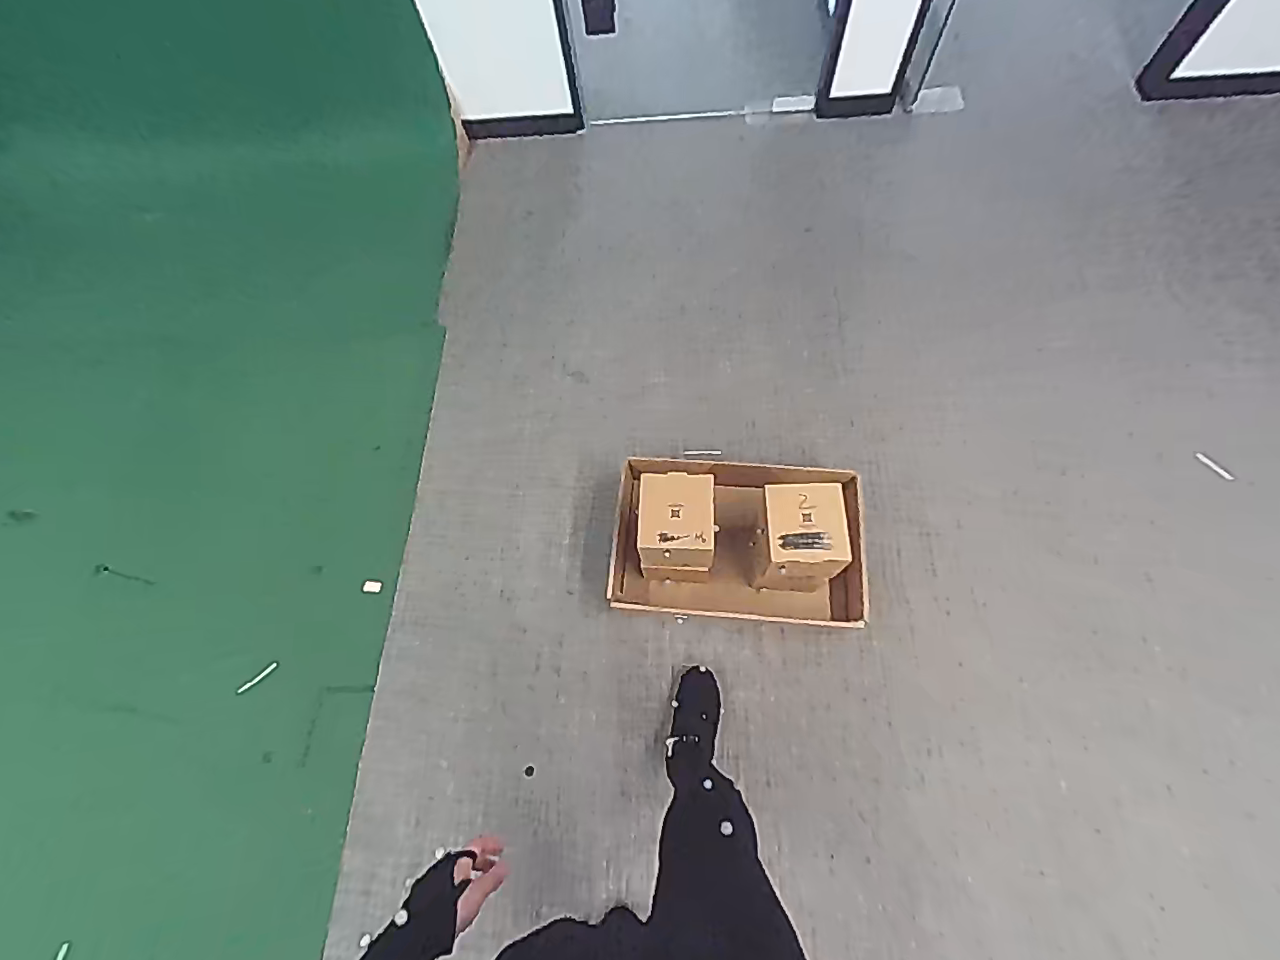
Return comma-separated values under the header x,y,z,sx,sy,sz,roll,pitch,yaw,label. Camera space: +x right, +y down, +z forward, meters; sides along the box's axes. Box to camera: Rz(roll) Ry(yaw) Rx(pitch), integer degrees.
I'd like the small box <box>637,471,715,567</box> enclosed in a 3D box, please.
x,y,z,sx,sy,sz,roll,pitch,yaw,label
0.086,0.093,1.248,0.168,0.176,0.179,1,67,6,small box
